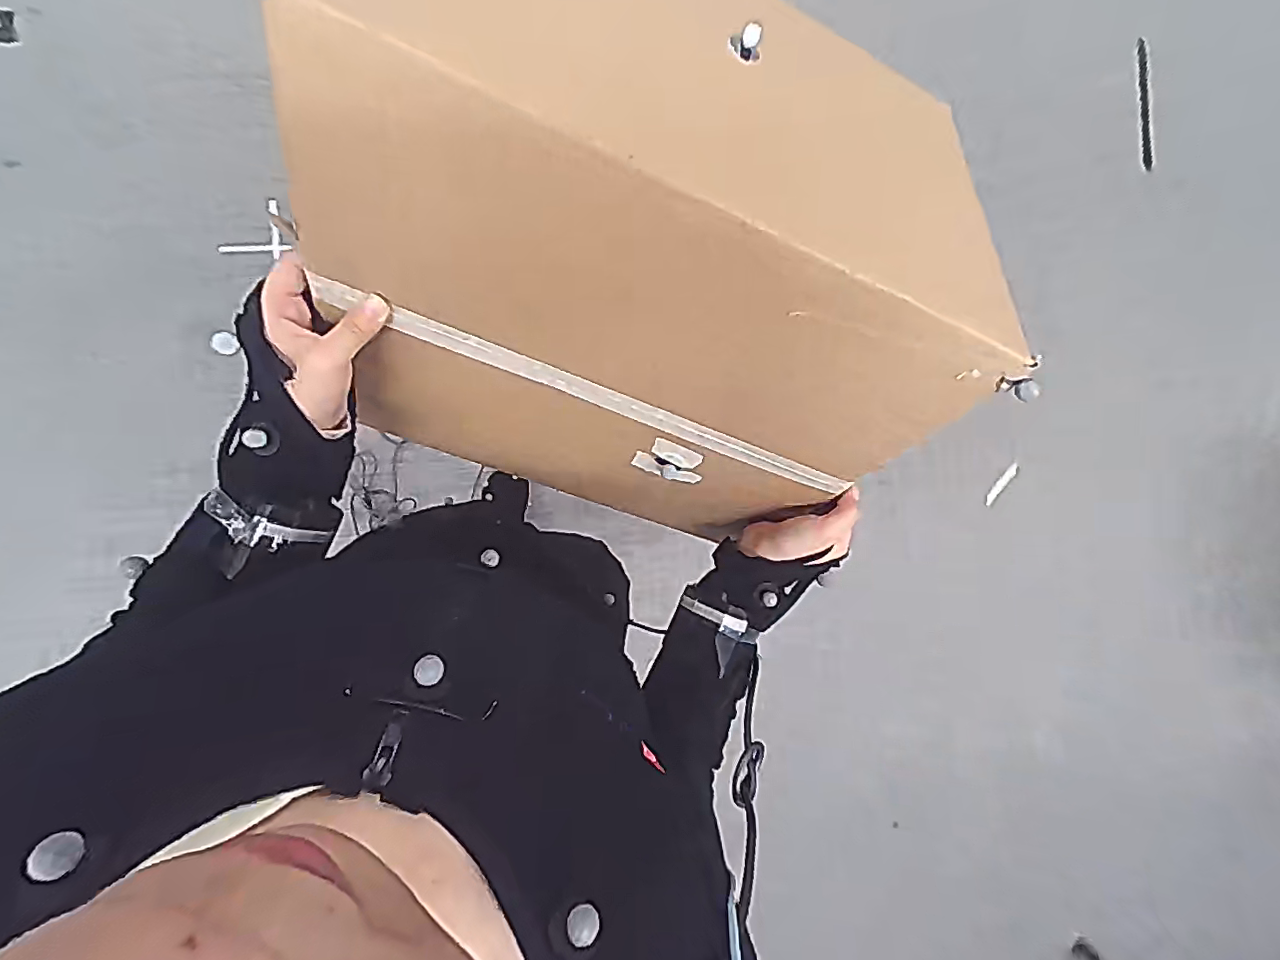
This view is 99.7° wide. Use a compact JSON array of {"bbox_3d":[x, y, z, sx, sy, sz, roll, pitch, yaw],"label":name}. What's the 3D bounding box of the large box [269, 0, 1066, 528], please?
[{"bbox_3d":[0.009,-0.203,0.441,0.408,0.320,0.320,18,59,-14],"label":"large box"}]
